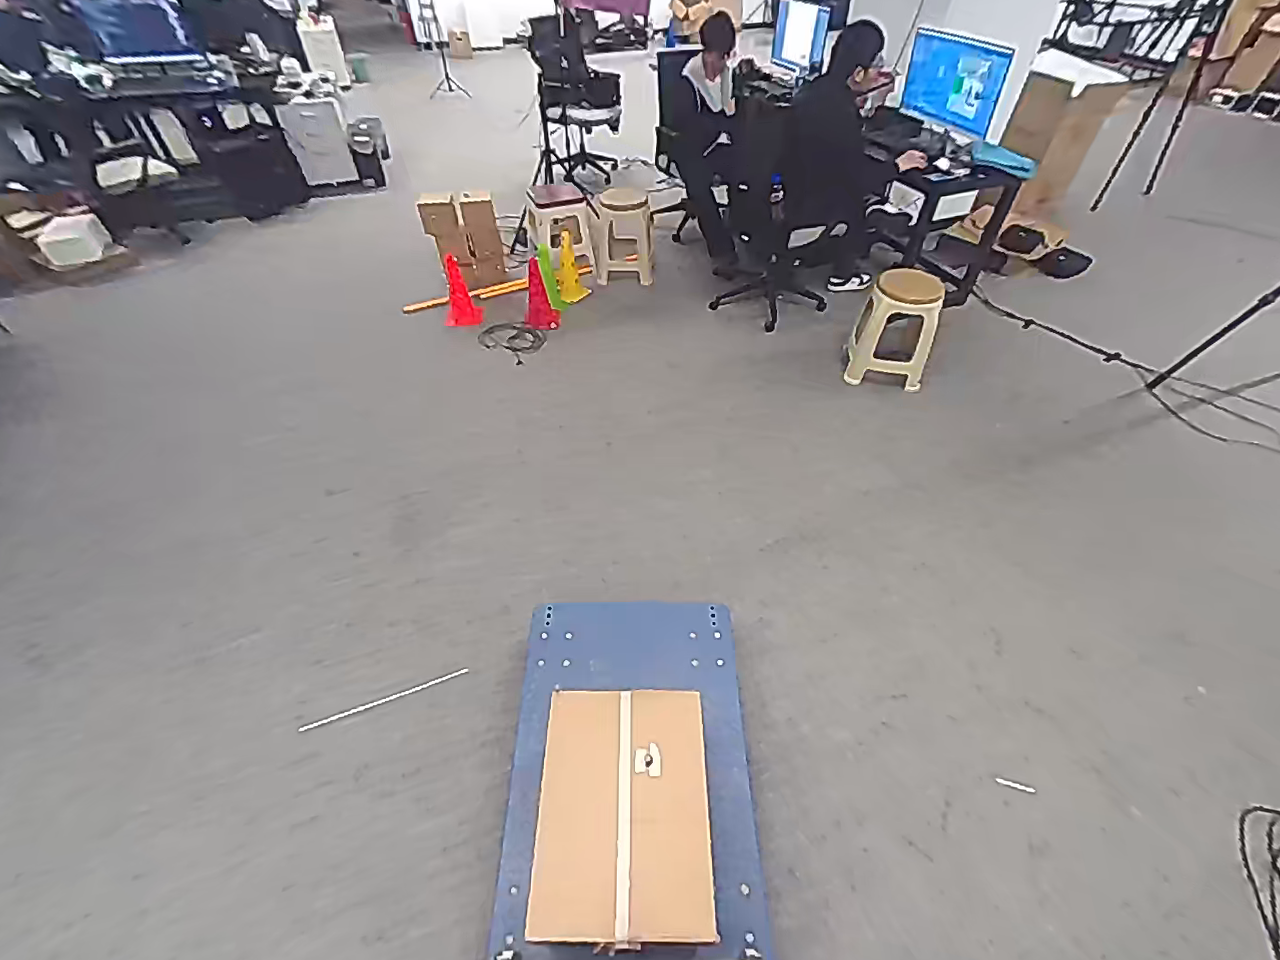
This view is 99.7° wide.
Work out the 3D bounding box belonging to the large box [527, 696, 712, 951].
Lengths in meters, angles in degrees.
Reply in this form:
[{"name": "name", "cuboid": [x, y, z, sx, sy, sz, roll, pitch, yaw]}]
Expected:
[{"name": "large box", "cuboid": [-0.034, 0.708, 1.124, 0.320, 0.320, 0.408, 1, 47, 0]}]
